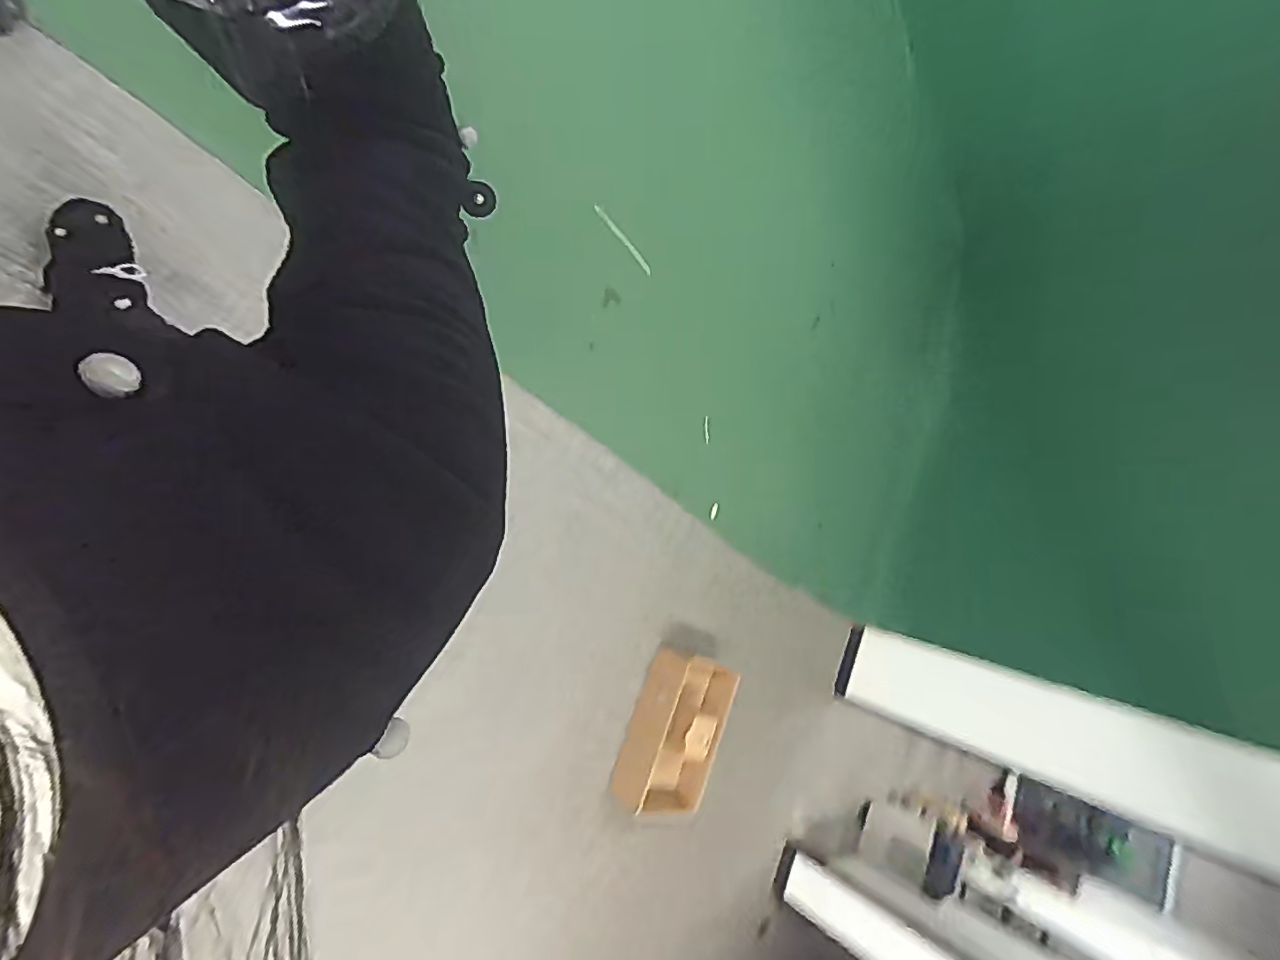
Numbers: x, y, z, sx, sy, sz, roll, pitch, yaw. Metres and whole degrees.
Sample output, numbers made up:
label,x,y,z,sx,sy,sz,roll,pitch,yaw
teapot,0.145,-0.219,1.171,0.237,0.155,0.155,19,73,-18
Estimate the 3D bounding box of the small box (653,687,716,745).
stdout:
label,x,y,z,sx,sy,sz,roll,pitch,yaw
small box,0.184,0.985,2.260,0.179,0.176,0.168,32,75,-43
